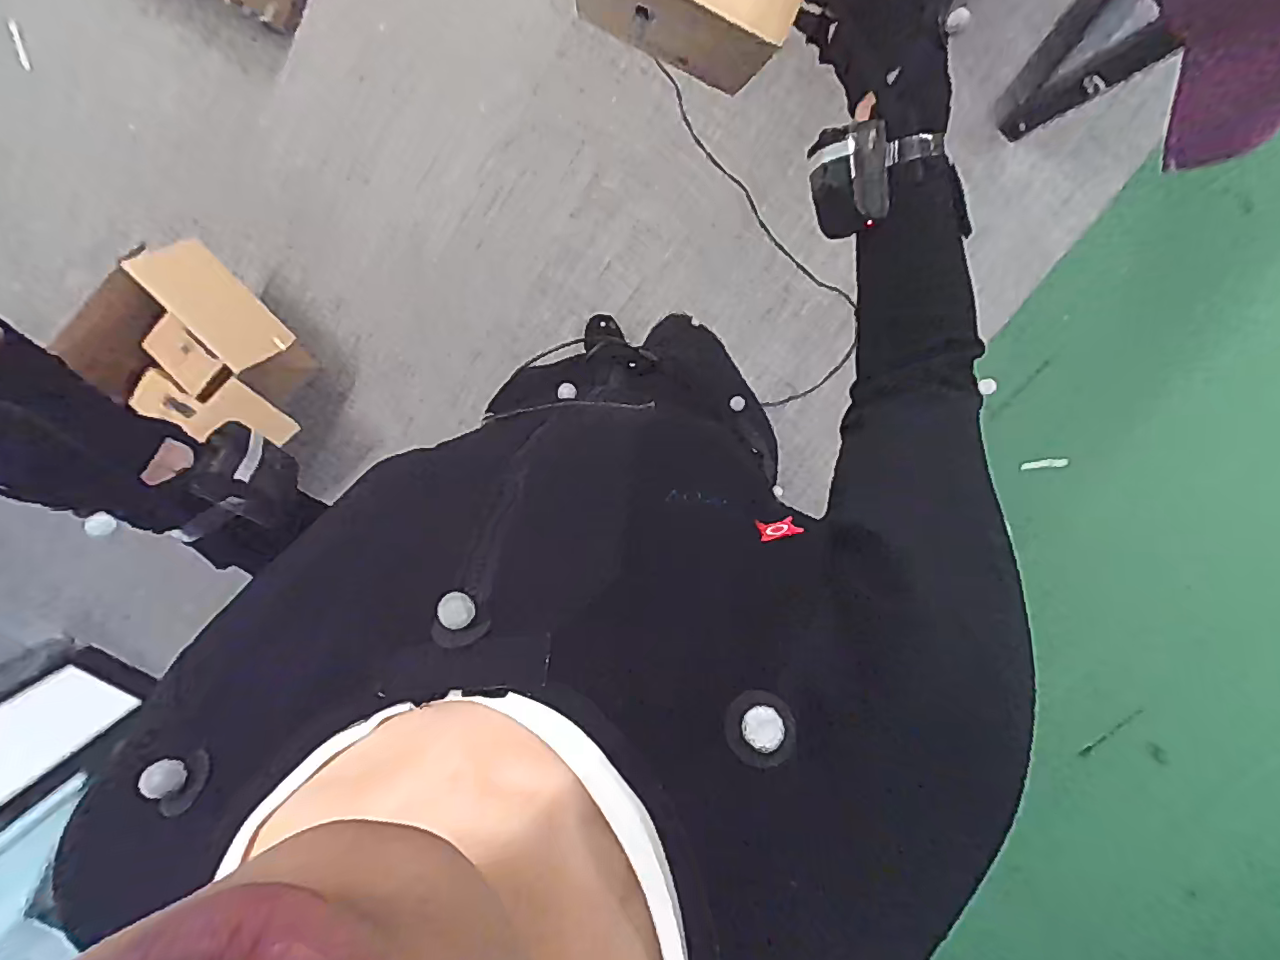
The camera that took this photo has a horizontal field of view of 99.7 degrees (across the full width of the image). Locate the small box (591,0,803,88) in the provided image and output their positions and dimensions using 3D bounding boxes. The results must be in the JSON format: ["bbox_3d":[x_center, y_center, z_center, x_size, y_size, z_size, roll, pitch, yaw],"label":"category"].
[{"bbox_3d":[0.058,-0.440,0.409,0.168,0.176,0.179,19,111,-12],"label":"small box"}]
